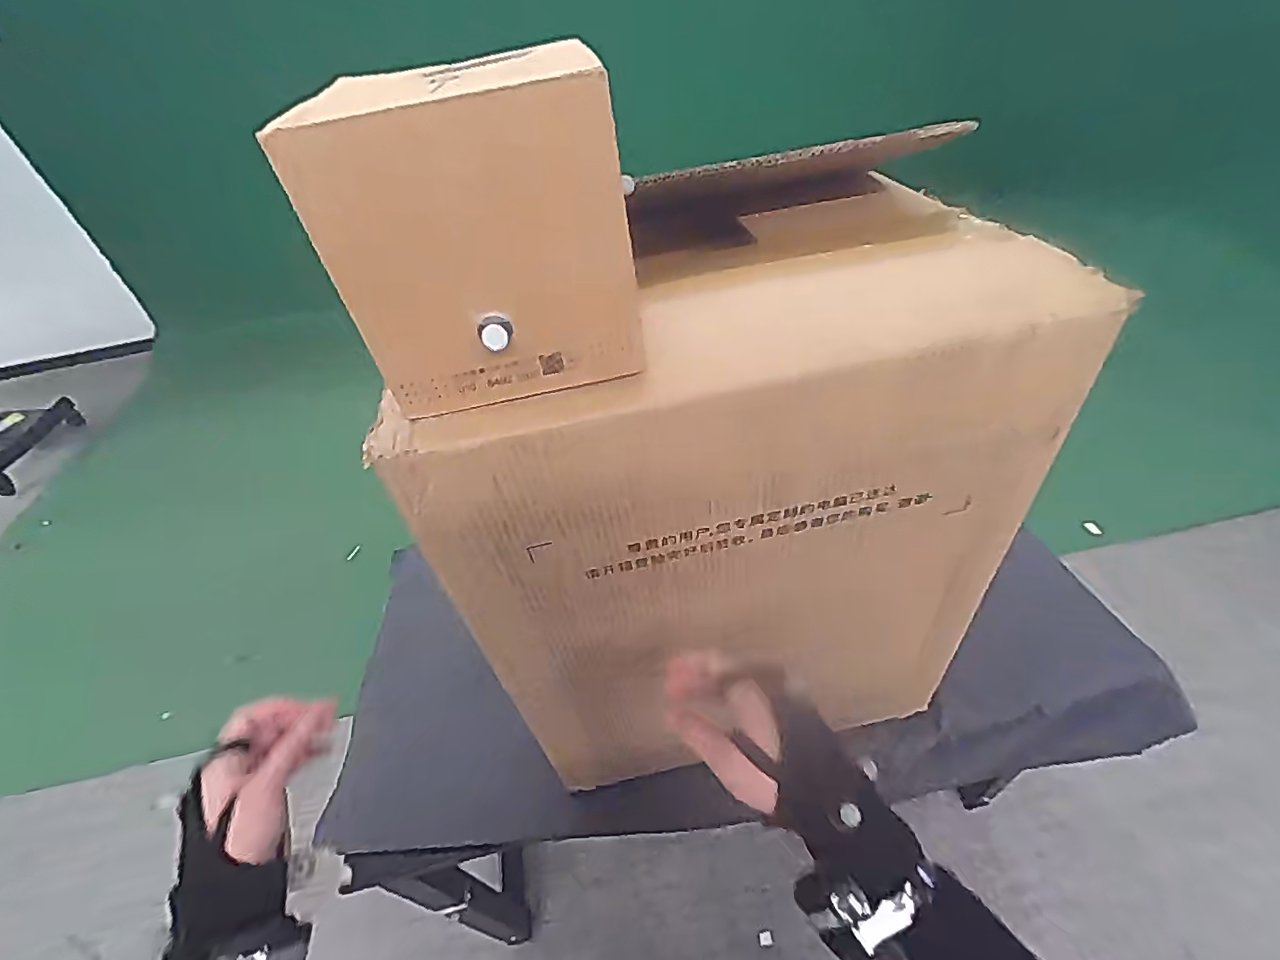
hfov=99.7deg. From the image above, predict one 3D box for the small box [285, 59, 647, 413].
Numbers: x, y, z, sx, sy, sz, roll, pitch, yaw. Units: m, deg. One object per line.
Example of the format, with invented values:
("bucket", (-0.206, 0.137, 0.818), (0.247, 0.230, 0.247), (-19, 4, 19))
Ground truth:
("small box", (-0.095, -0.172, 0.378), (0.168, 0.176, 0.179), (-12, 43, -2))
